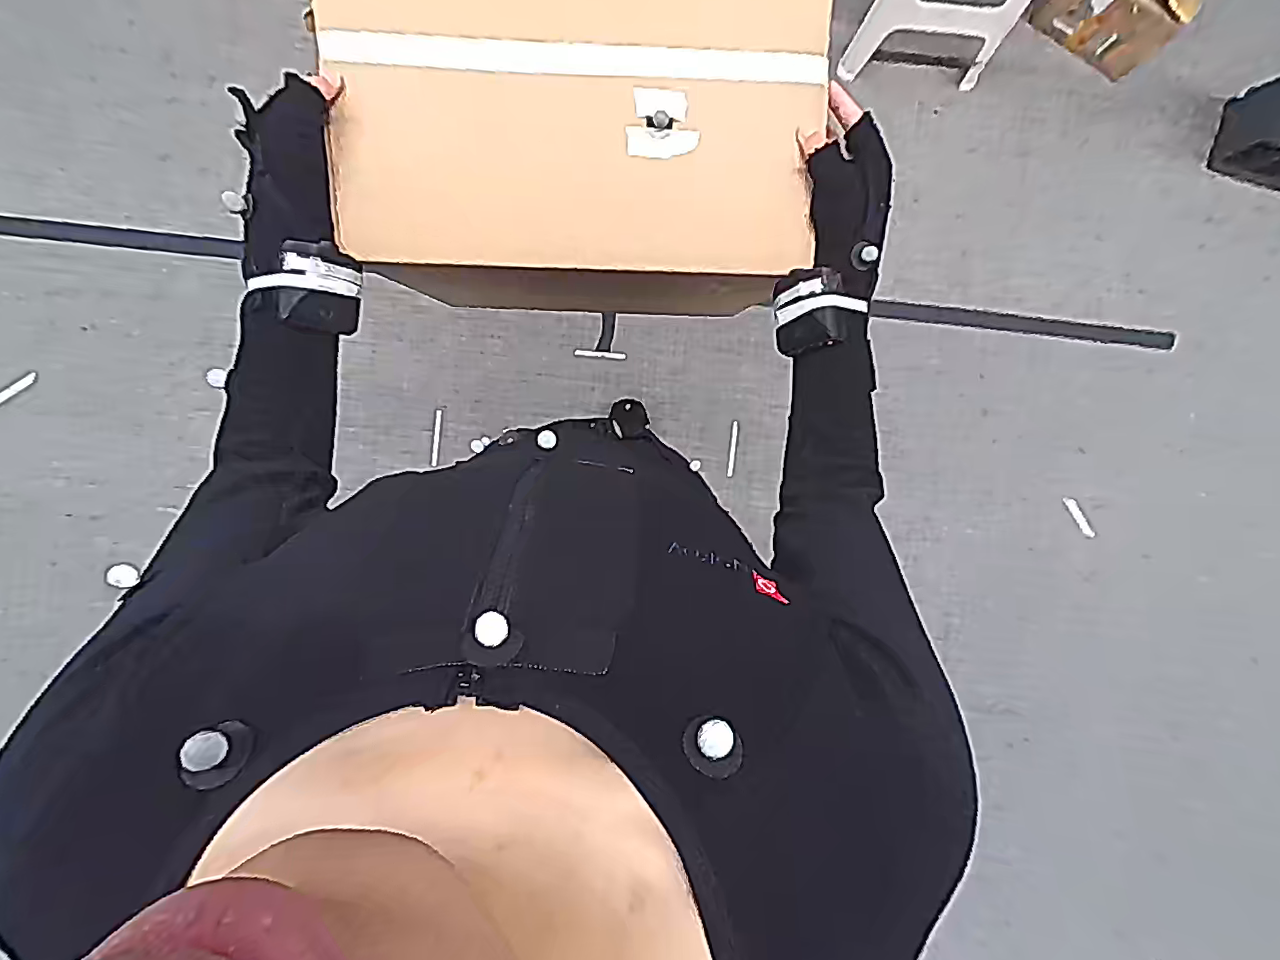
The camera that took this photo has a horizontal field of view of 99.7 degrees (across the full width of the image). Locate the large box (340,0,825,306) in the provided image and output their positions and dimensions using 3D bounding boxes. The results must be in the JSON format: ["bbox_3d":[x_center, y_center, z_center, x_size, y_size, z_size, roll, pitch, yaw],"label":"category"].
[{"bbox_3d":[-0.054,-0.372,0.597,0.408,0.320,0.320,0,102,-3],"label":"large box"}]
